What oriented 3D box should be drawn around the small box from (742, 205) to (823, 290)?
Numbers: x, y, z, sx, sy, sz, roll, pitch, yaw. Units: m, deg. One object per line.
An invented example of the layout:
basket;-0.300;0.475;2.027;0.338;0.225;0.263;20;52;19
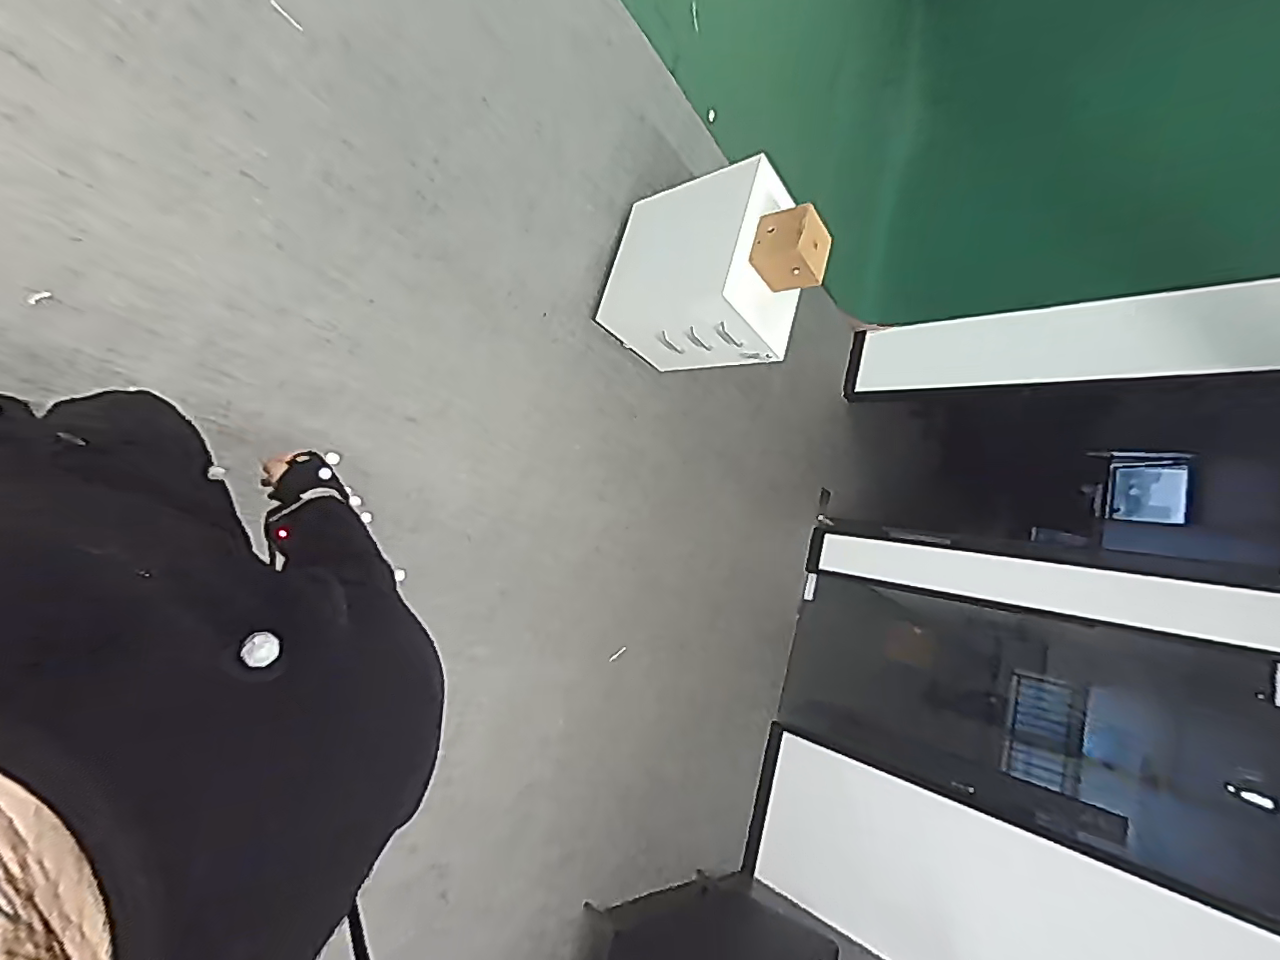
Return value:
small box;0.442;-0.712;1.681;0.179;0.176;0.168;28;73;-46
